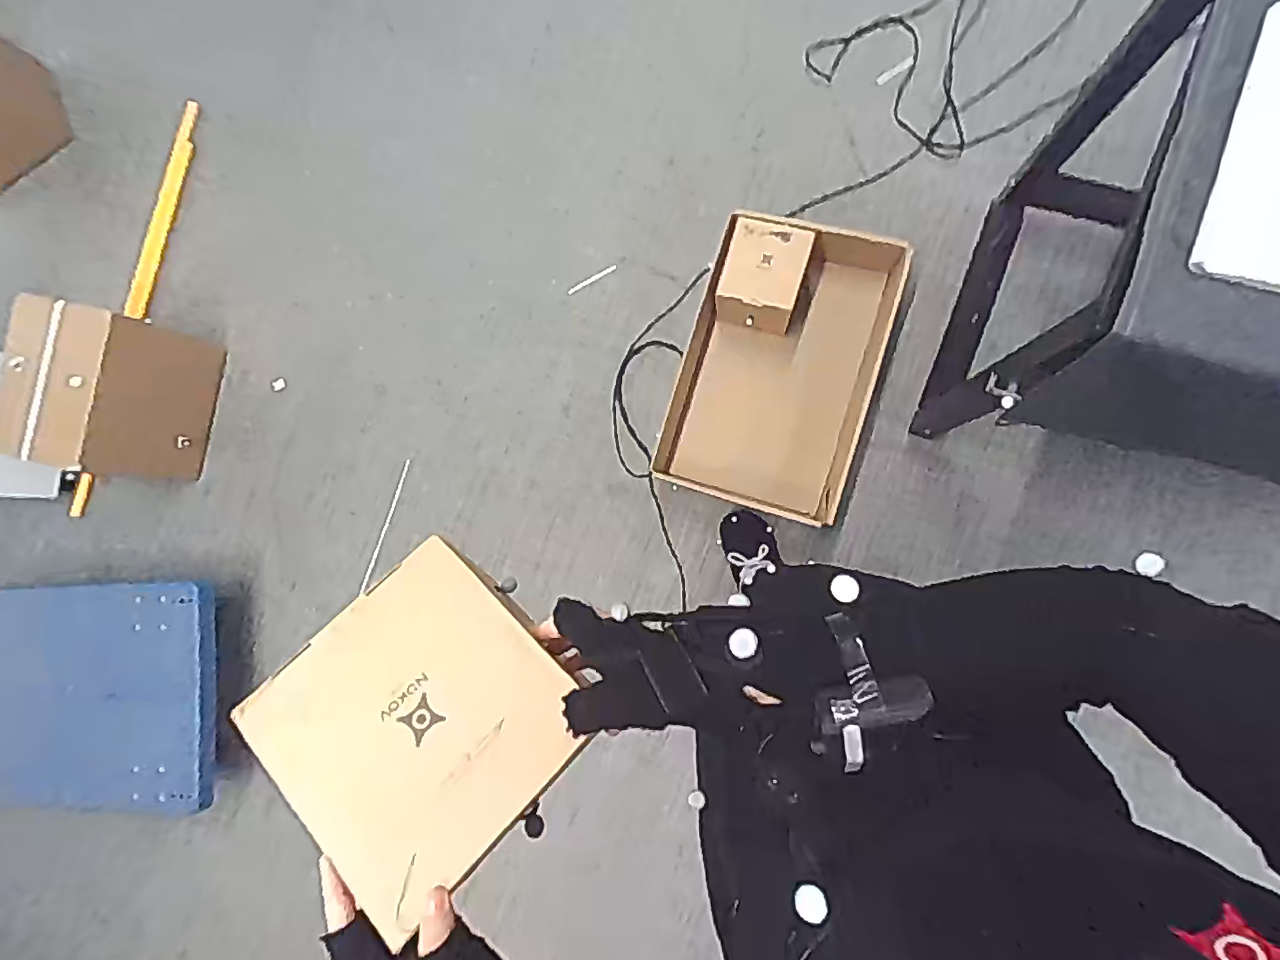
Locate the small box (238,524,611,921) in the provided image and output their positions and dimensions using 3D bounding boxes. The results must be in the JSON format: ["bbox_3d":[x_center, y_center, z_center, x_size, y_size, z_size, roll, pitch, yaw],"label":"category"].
[{"bbox_3d":[-0.140,0.169,0.414,0.168,0.176,0.179,-43,73,-16],"label":"small box"}]
